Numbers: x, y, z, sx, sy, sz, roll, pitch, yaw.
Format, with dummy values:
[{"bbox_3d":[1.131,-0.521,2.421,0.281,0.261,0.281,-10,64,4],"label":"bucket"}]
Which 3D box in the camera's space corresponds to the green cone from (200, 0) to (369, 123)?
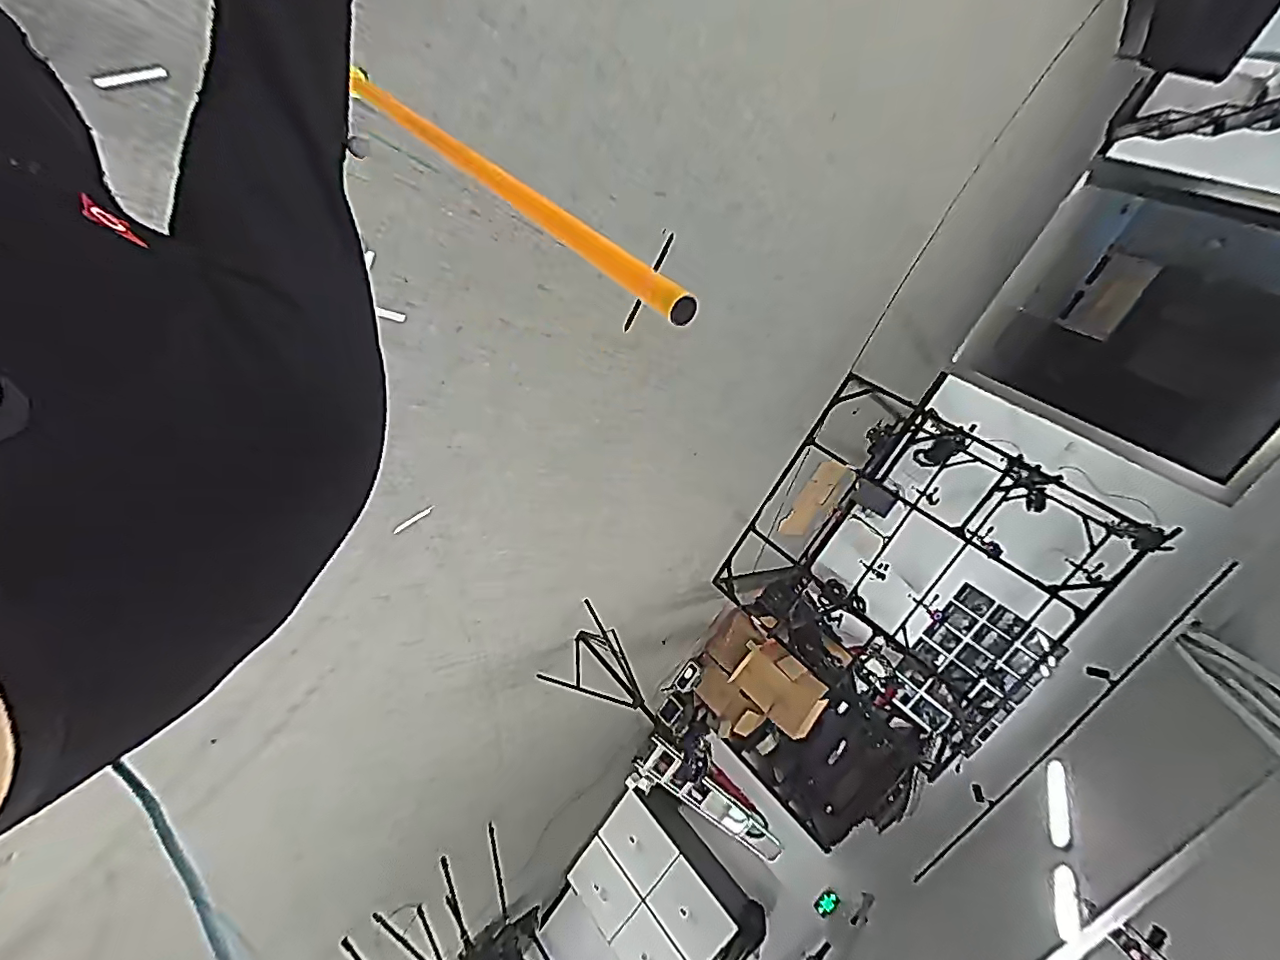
[{"bbox_3d":[-0.582,-0.738,0.952,0.202,0.368,0.200,11,114,-58],"label":"green cone"}]
